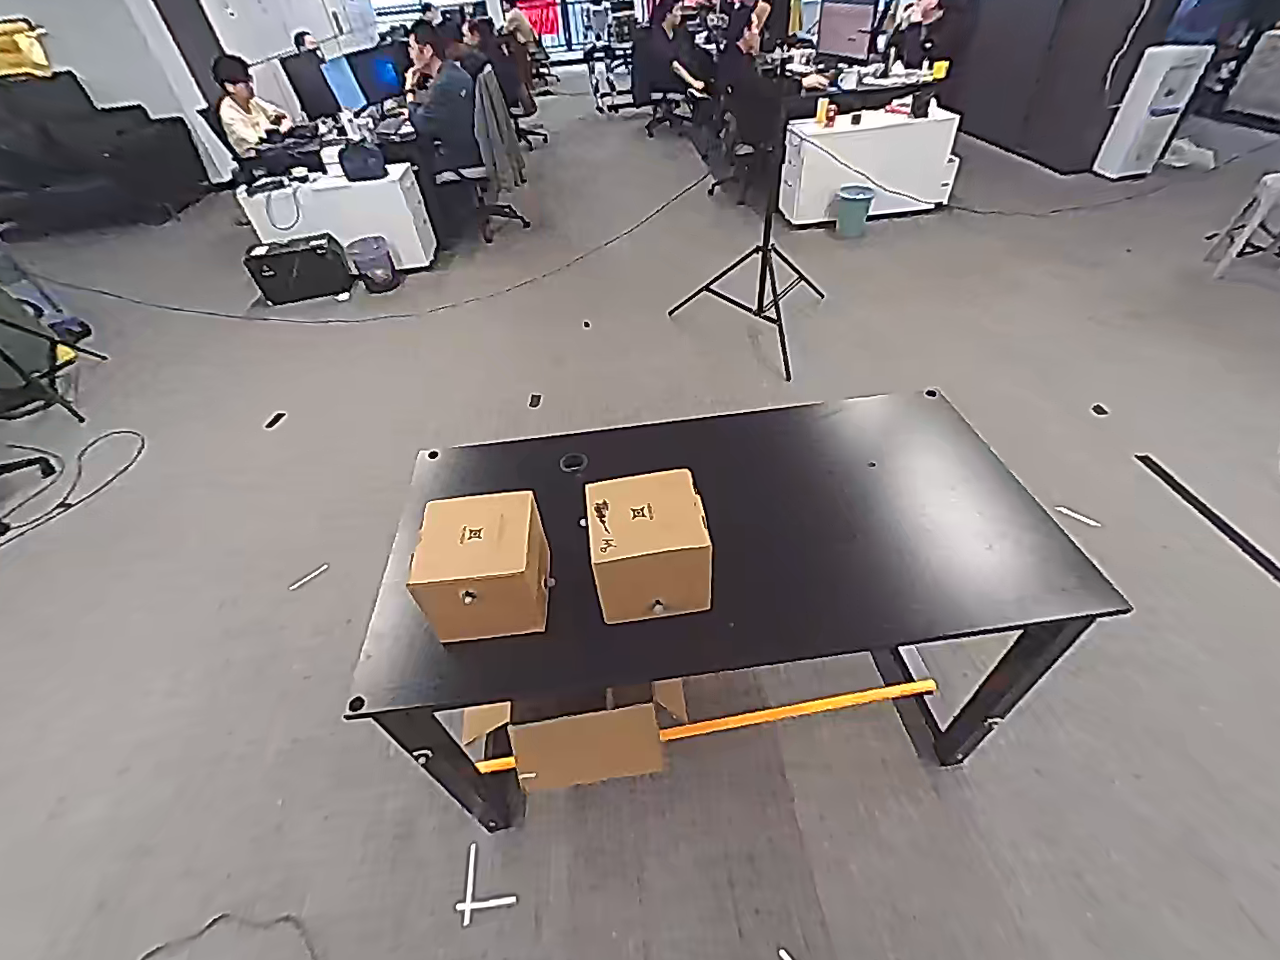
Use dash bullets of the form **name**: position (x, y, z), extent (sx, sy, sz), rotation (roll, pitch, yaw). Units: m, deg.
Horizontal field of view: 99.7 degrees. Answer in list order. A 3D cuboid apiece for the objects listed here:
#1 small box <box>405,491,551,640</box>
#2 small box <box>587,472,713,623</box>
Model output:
- **small box**: position (-0.248, 0.142, 0.874), extent (0.179, 0.176, 0.168), rotation (-6, 45, -2)
- **small box**: position (0.013, 0.110, 0.879), extent (0.179, 0.176, 0.168), rotation (-8, 43, -3)
